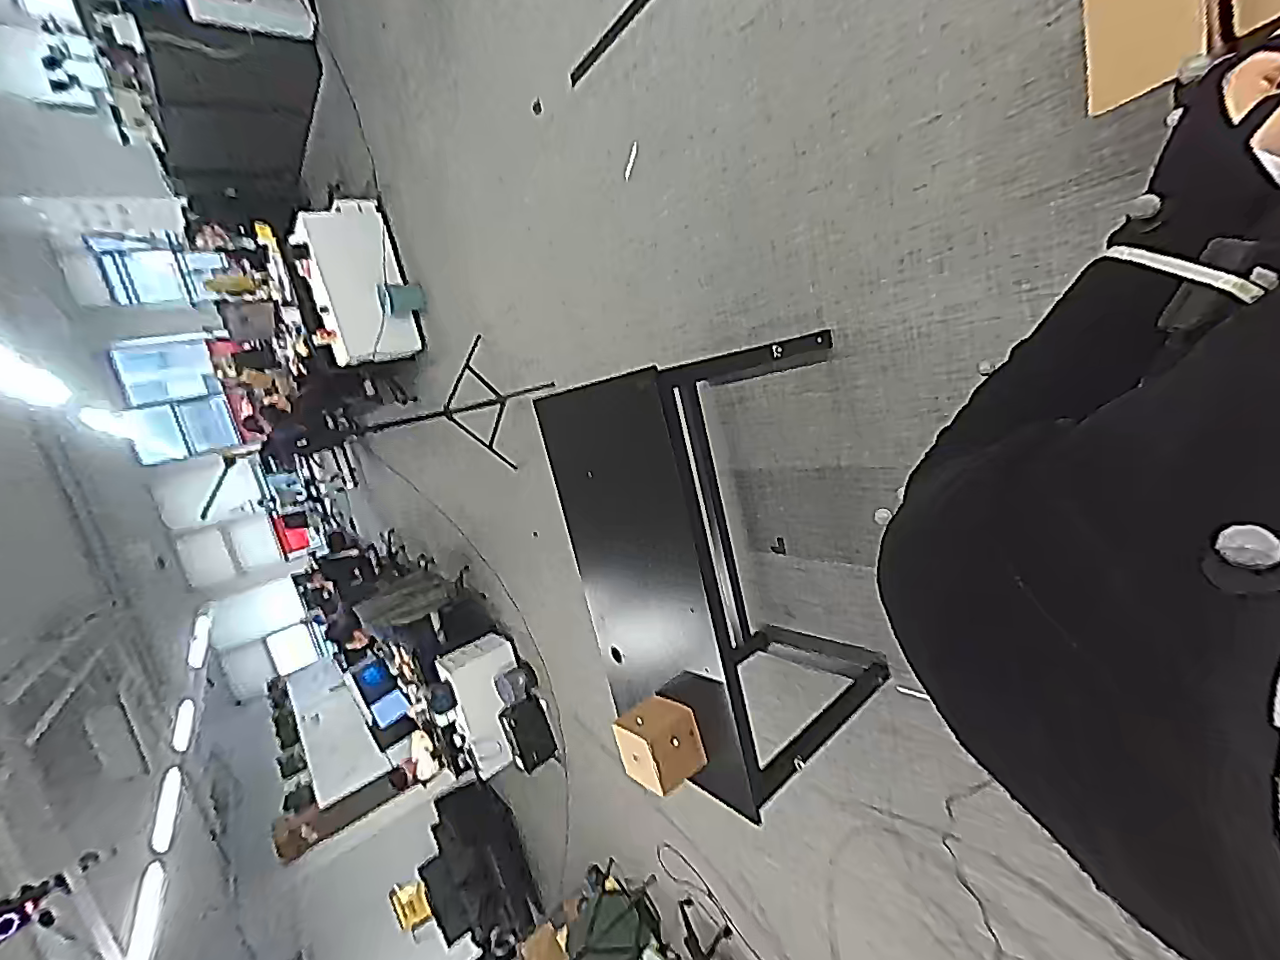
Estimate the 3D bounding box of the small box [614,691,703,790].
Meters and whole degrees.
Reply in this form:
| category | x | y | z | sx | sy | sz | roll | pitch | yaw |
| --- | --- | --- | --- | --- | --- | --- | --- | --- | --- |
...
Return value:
| category | x | y | z | sx | sy | sz | roll | pitch | yaw |
| --- | --- | --- | --- | --- | --- | --- | --- | --- | --- |
| small box | 0.058 | 0.720 | 1.521 | 0.179 | 0.176 | 0.168 | -8 | 99 | 55 |
